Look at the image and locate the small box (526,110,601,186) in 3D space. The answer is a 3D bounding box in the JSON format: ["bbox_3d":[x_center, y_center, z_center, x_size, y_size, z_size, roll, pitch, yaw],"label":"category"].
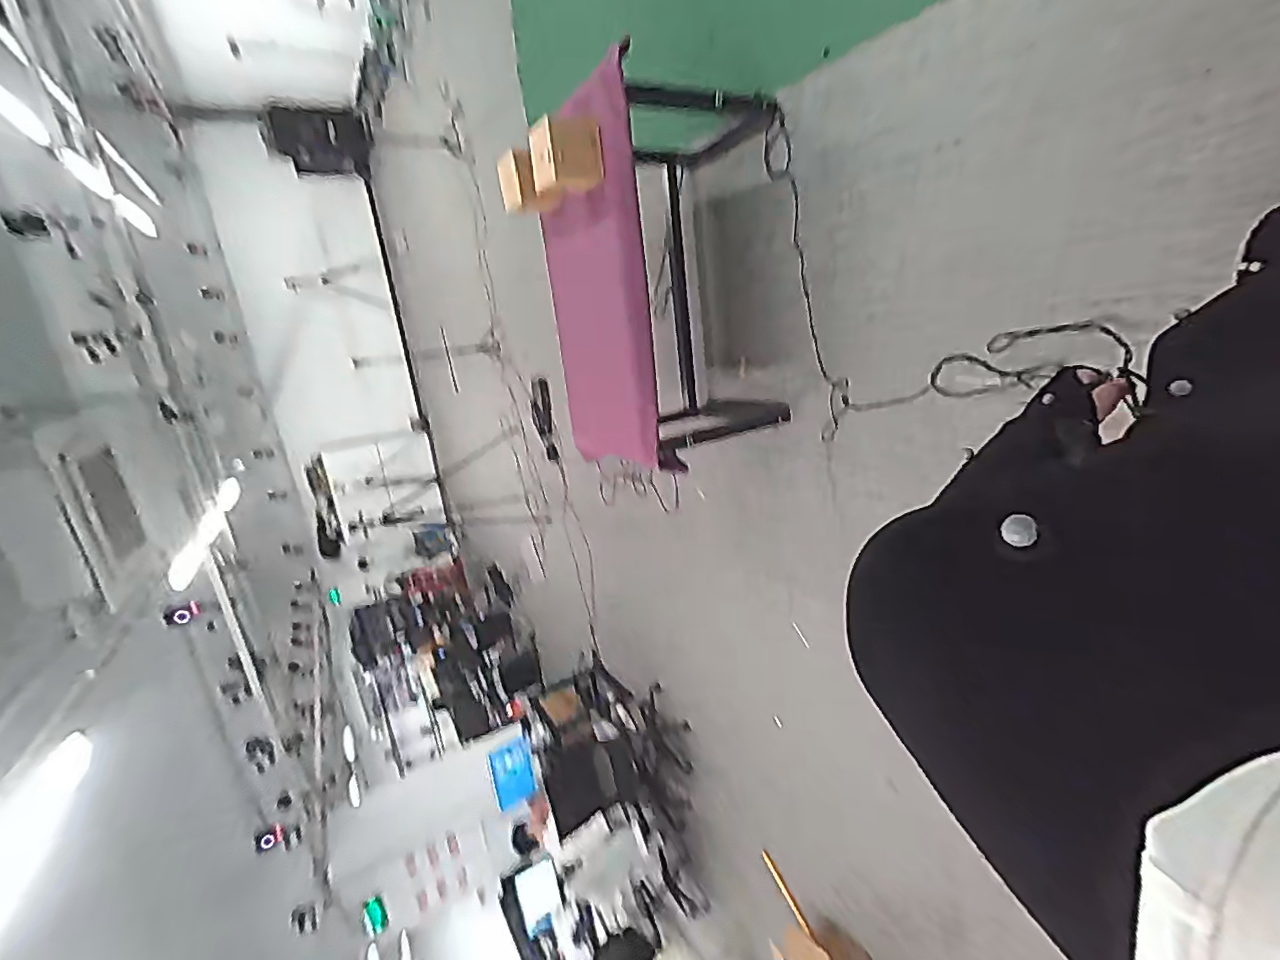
[{"bbox_3d":[-0.237,-1.021,1.678,0.179,0.176,0.168,25,126,57],"label":"small box"}]

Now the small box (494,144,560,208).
[{"bbox_3d":[-0.405,-1.087,1.942,0.179,0.176,0.168,18,122,56],"label":"small box"}]
